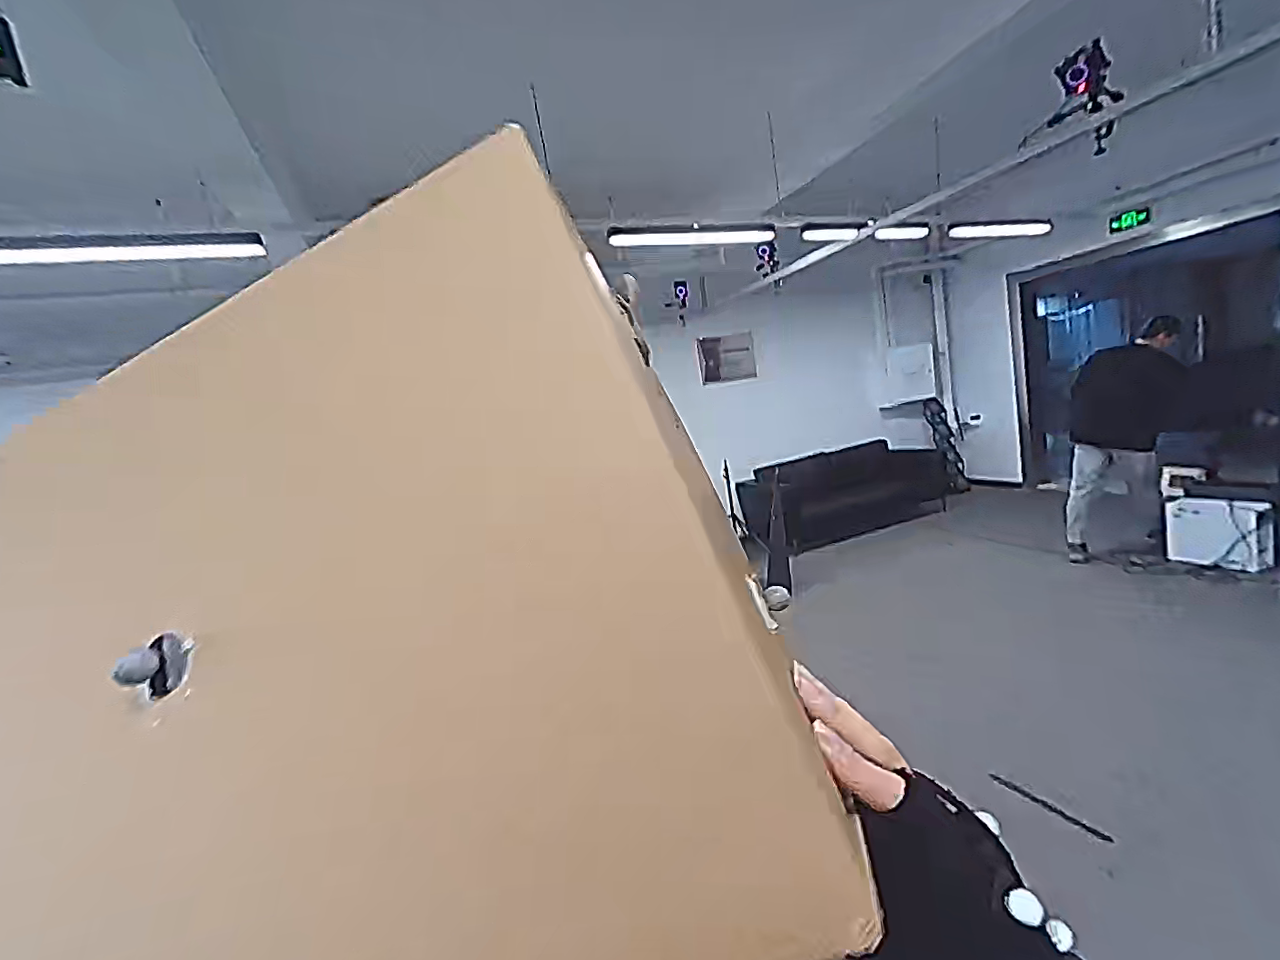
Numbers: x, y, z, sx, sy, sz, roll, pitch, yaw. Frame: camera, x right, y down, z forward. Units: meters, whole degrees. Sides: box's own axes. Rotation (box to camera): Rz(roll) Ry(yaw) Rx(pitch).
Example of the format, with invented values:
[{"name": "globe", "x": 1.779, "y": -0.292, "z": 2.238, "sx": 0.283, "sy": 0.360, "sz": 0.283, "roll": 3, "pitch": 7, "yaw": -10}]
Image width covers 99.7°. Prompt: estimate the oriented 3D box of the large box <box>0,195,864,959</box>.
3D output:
[{"name": "large box", "x": -0.124, "y": 0.123, "z": 0.360, "sx": 0.408, "sy": 0.320, "sz": 0.320, "roll": -29, "pitch": -22, "yaw": 10}]
